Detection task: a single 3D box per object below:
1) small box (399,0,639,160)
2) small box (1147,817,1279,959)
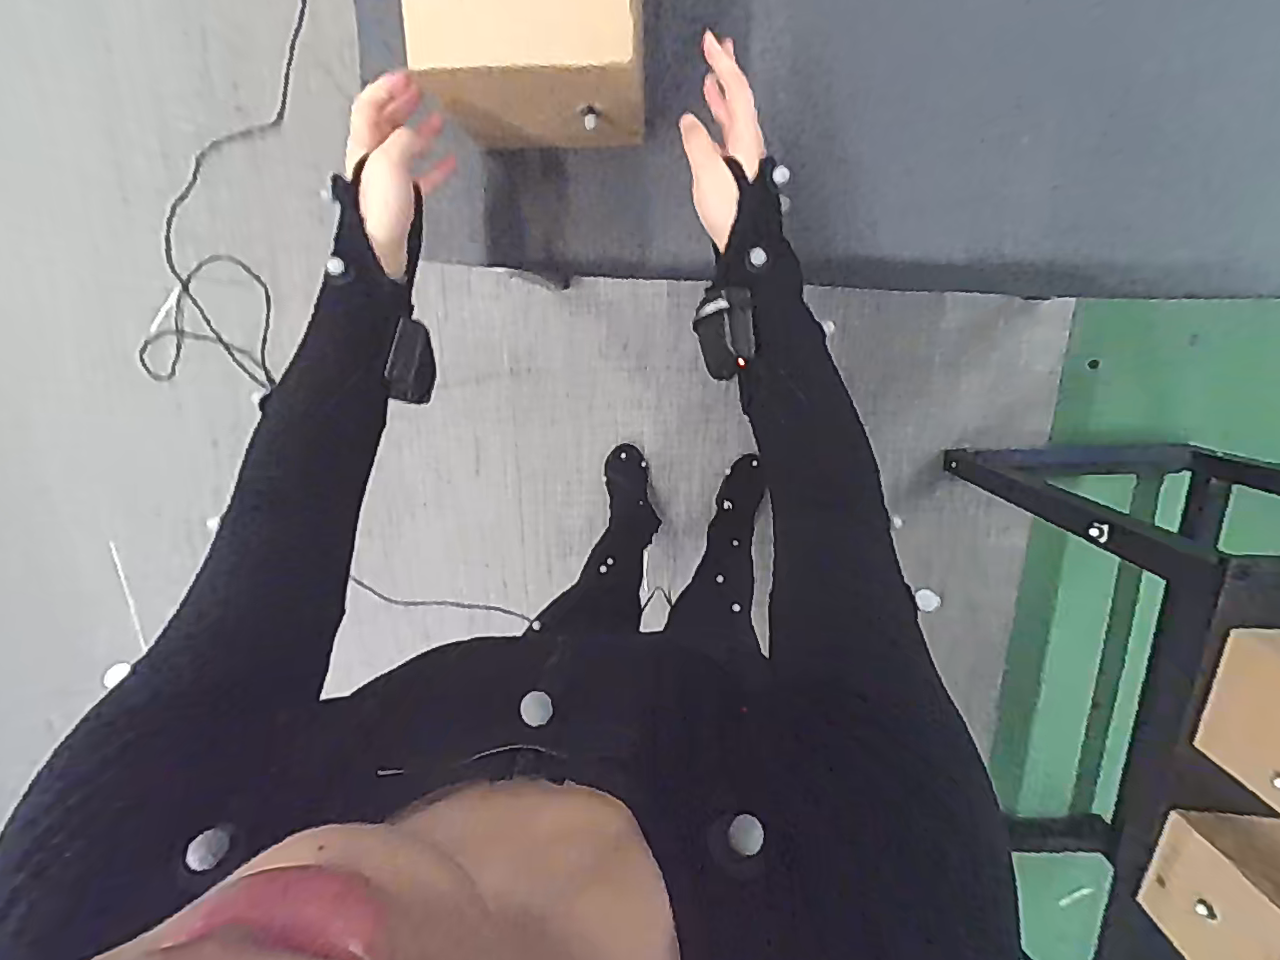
[{"bbox_3d":[-0.091,-0.402,0.475,0.179,0.176,0.168,-1,102,4],"label":"small box"},{"bbox_3d":[0.800,0.555,0.670,0.179,0.176,0.168,4,106,2],"label":"small box"}]
